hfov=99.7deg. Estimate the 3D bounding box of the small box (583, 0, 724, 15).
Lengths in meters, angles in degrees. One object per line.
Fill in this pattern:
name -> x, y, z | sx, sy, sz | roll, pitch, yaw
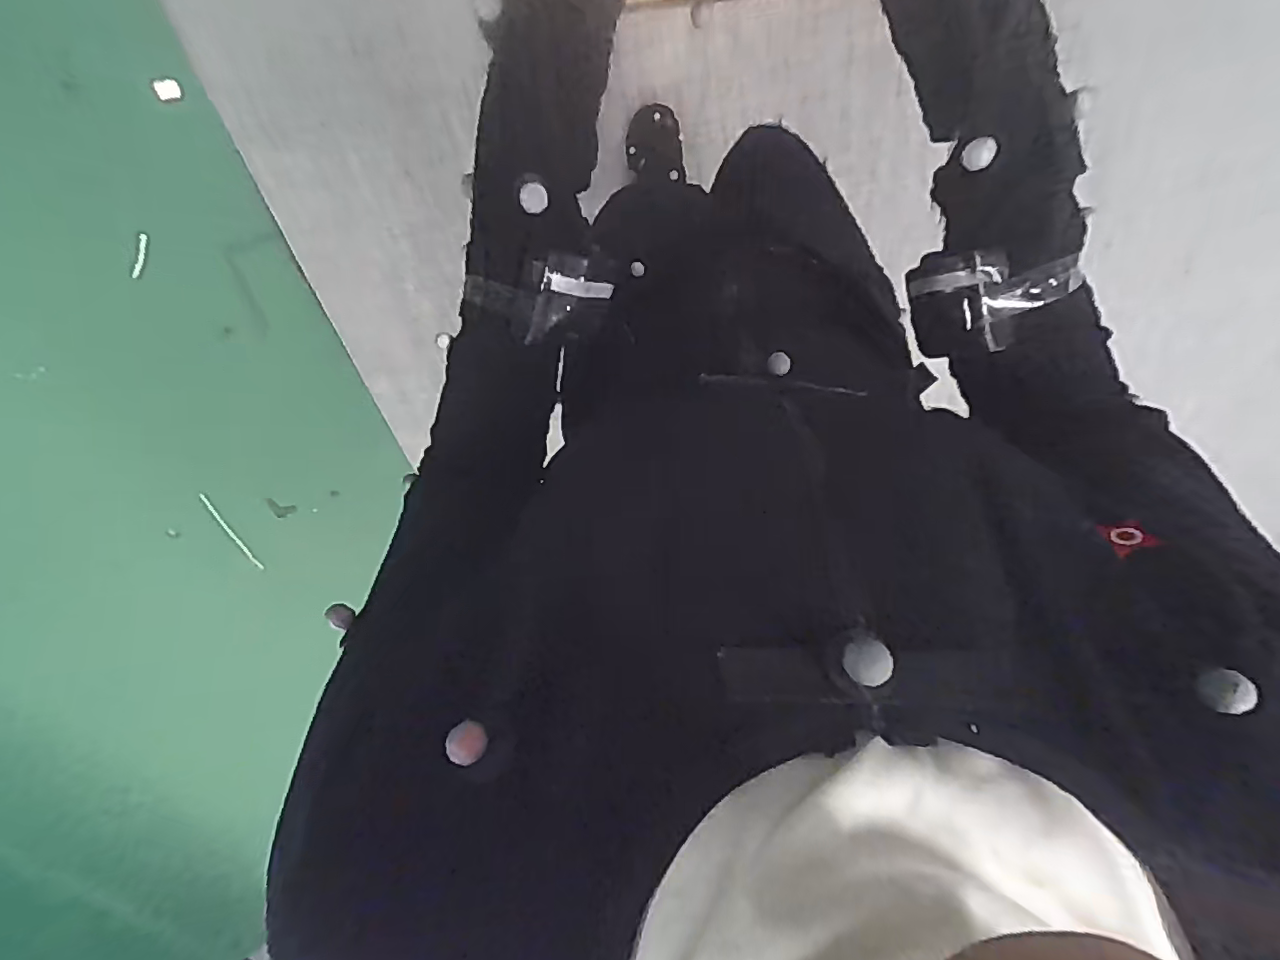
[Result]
small box -> 0.038, -0.375, 0.297 | 0.179, 0.176, 0.168 | -7, 129, 0
